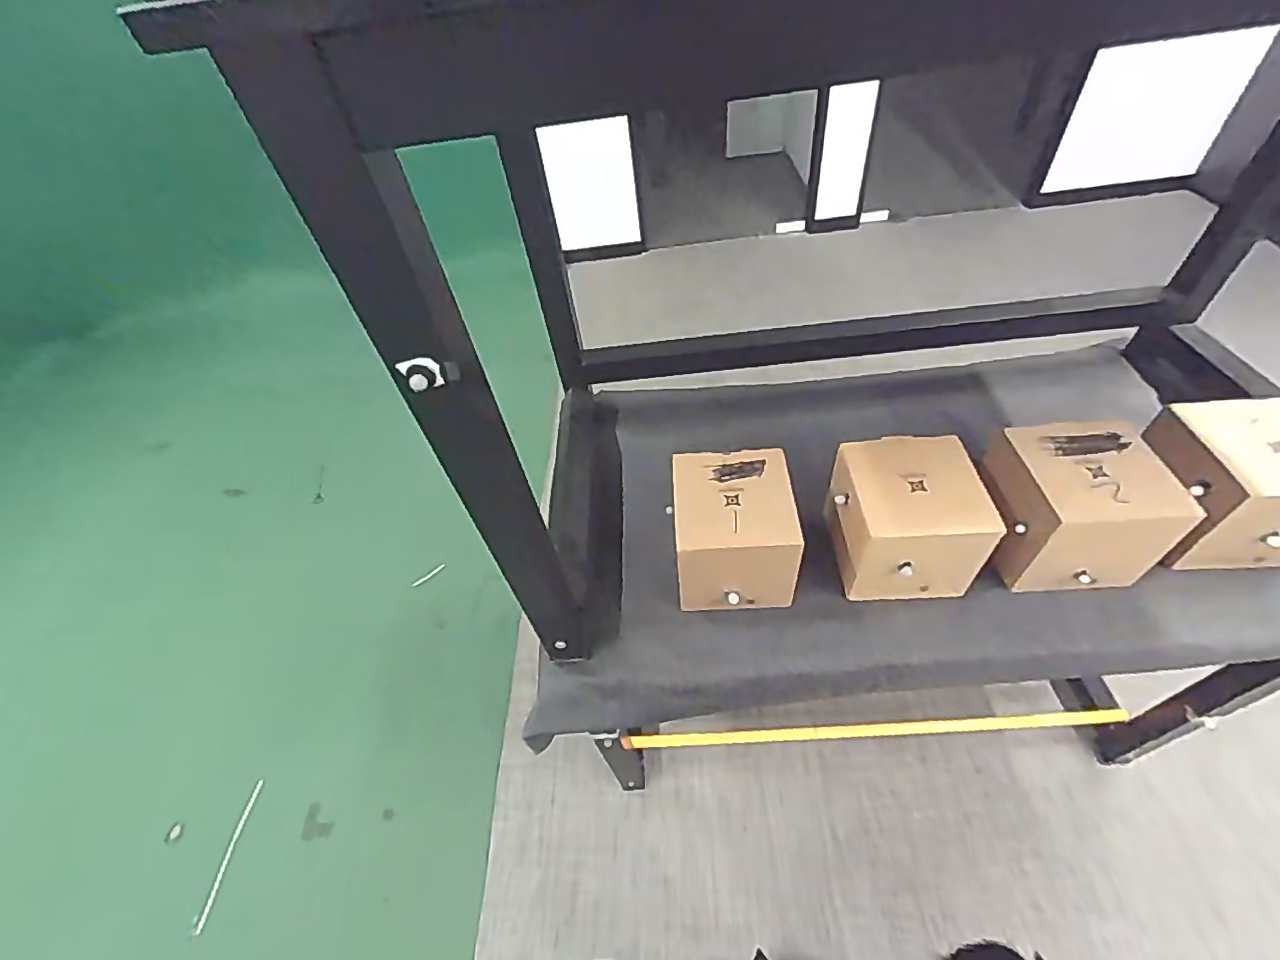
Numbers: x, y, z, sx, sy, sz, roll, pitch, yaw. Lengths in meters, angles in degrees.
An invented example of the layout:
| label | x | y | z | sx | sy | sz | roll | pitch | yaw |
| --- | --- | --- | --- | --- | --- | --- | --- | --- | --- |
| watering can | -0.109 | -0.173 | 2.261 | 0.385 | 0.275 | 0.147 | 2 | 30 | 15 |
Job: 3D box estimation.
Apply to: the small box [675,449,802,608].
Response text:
| label | x | y | z | sx | sy | sz | roll | pitch | yaw |
| --- | --- | --- | --- | --- | --- | --- | --- | --- | --- |
| small box | 0.138 | 0.075 | 0.813 | 0.168 | 0.176 | 0.179 | -3 | 49 | 6 |

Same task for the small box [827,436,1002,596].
| label | x | y | z | sx | sy | sz | roll | pitch | yaw |
| --- | --- | --- | --- | --- | --- | --- | --- | --- | --- |
| small box | 0.382 | 0.059 | 0.791 | 0.168 | 0.176 | 0.179 | -3 | 48 | 6 |

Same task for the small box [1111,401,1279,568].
| label | x | y | z | sx | sy | sz | roll | pitch | yaw |
| --- | --- | --- | --- | --- | --- | --- | --- | --- | --- |
| small box | 0.831 | 0.011 | 0.761 | 0.168 | 0.176 | 0.179 | -2 | 48 | 7 |
